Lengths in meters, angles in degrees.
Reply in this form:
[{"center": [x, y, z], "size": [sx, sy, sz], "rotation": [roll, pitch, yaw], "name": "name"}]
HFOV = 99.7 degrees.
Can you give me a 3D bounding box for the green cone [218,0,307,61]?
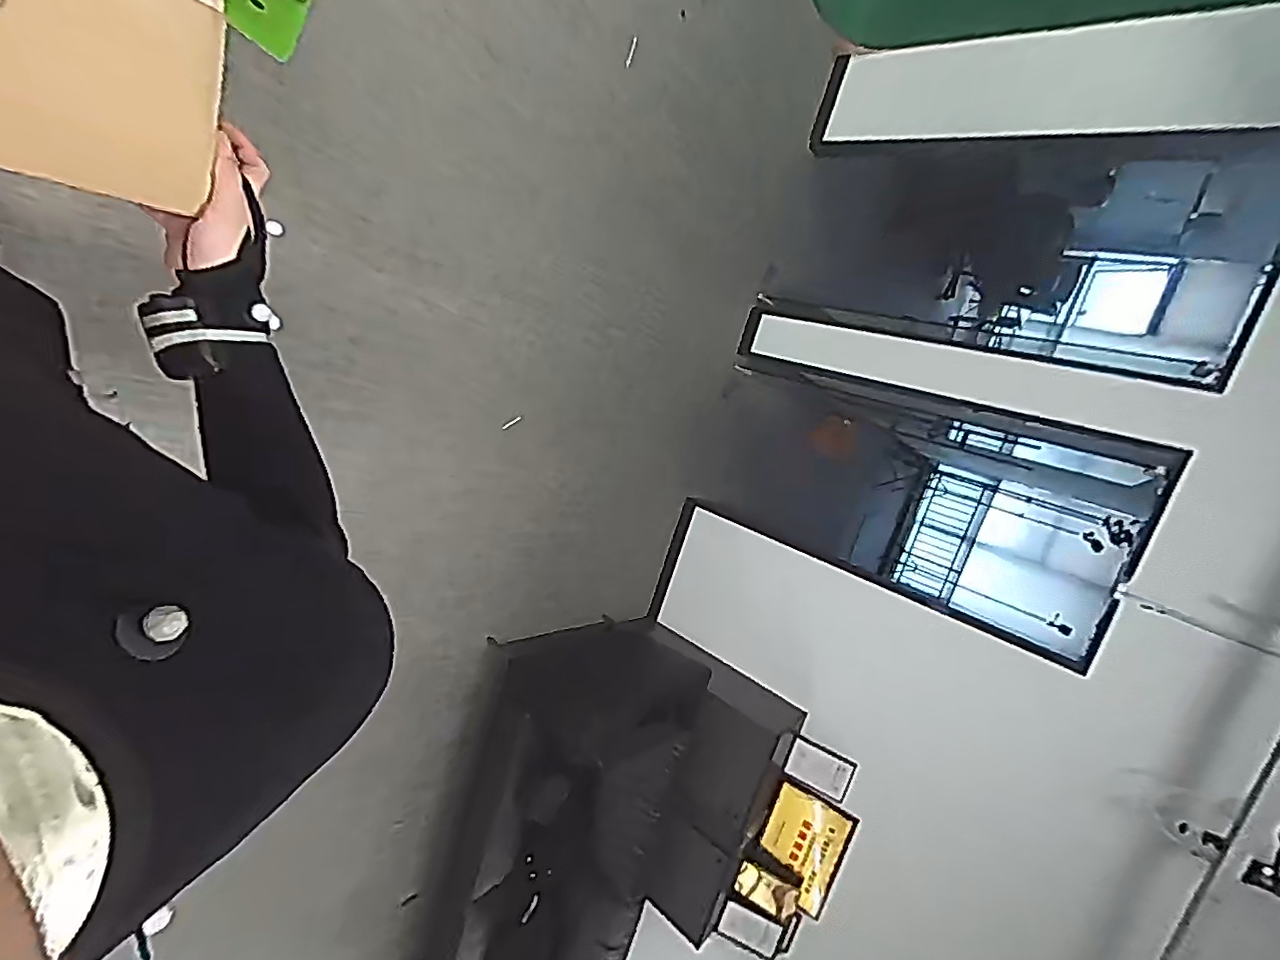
[{"center": [-0.712, -1.013, 1.068], "size": [0.200, 0.368, 0.202], "rotation": [17, 94, -56], "name": "green cone"}]
